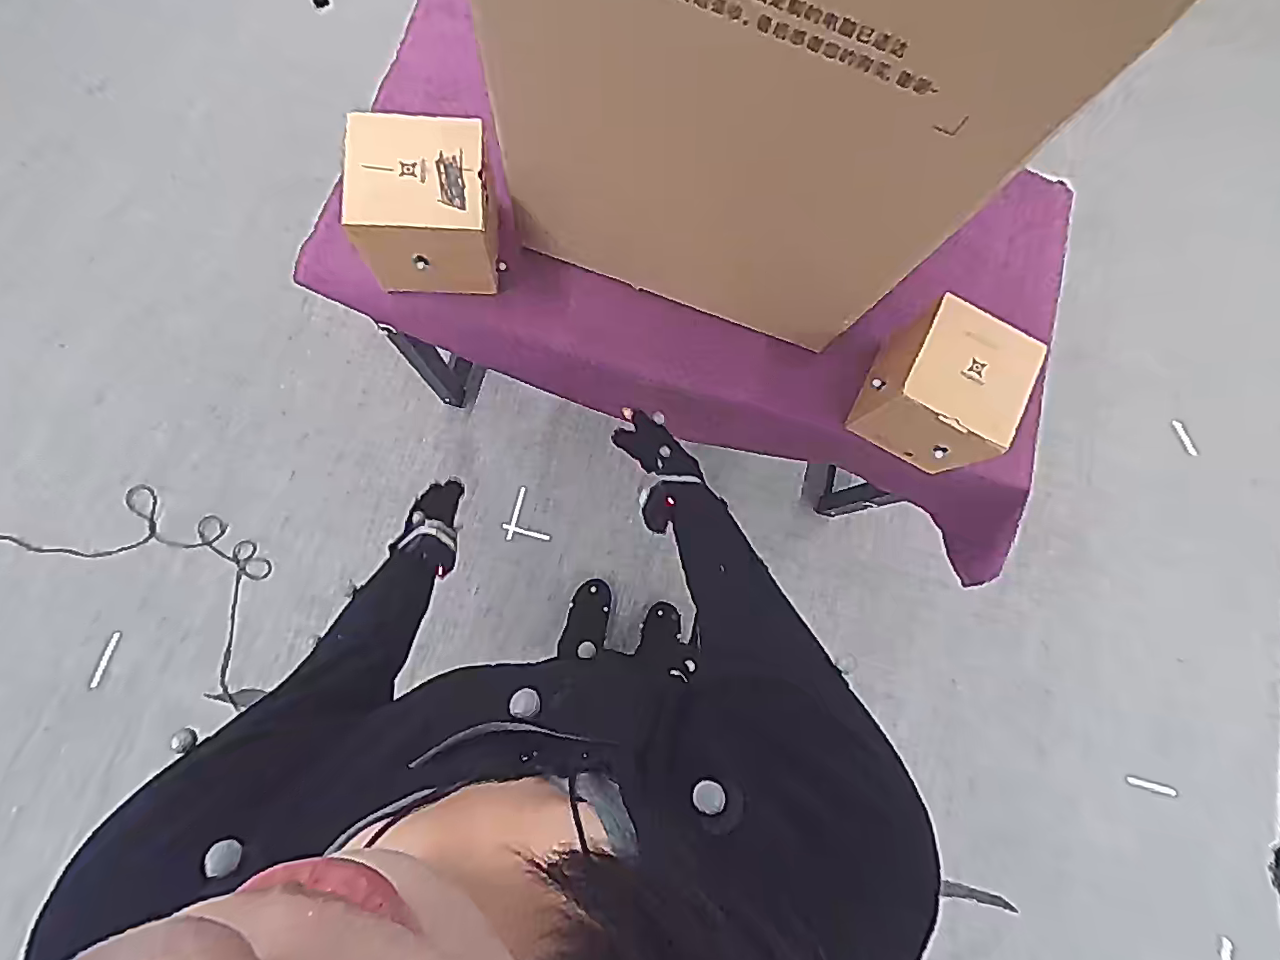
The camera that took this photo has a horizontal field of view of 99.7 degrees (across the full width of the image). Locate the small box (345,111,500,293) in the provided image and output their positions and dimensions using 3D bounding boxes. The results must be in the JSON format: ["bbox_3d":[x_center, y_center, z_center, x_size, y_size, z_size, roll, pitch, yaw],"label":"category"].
[{"bbox_3d":[-0.298,-0.386,0.779,0.179,0.176,0.168,-1,80,-8],"label":"small box"}]

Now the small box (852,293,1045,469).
[{"bbox_3d":[0.450,-0.136,0.817,0.168,0.176,0.179,28,77,-1],"label":"small box"}]
